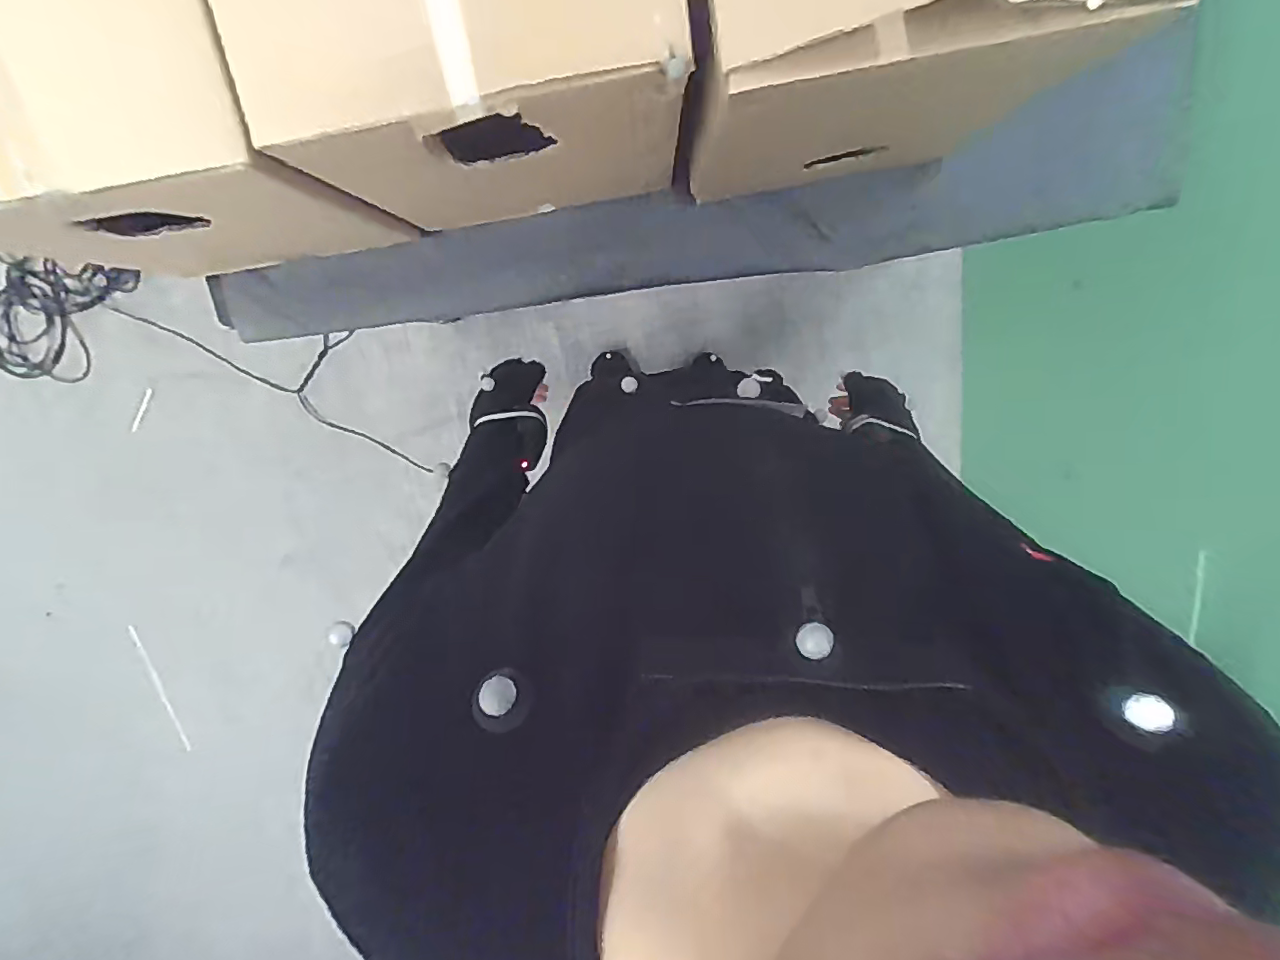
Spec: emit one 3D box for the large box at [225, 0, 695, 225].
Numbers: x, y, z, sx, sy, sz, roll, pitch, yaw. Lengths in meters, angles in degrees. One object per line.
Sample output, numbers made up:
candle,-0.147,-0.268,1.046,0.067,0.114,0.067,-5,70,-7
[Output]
large box,-0.144,-0.487,0.469,0.320,0.320,0.408,-9,105,5
